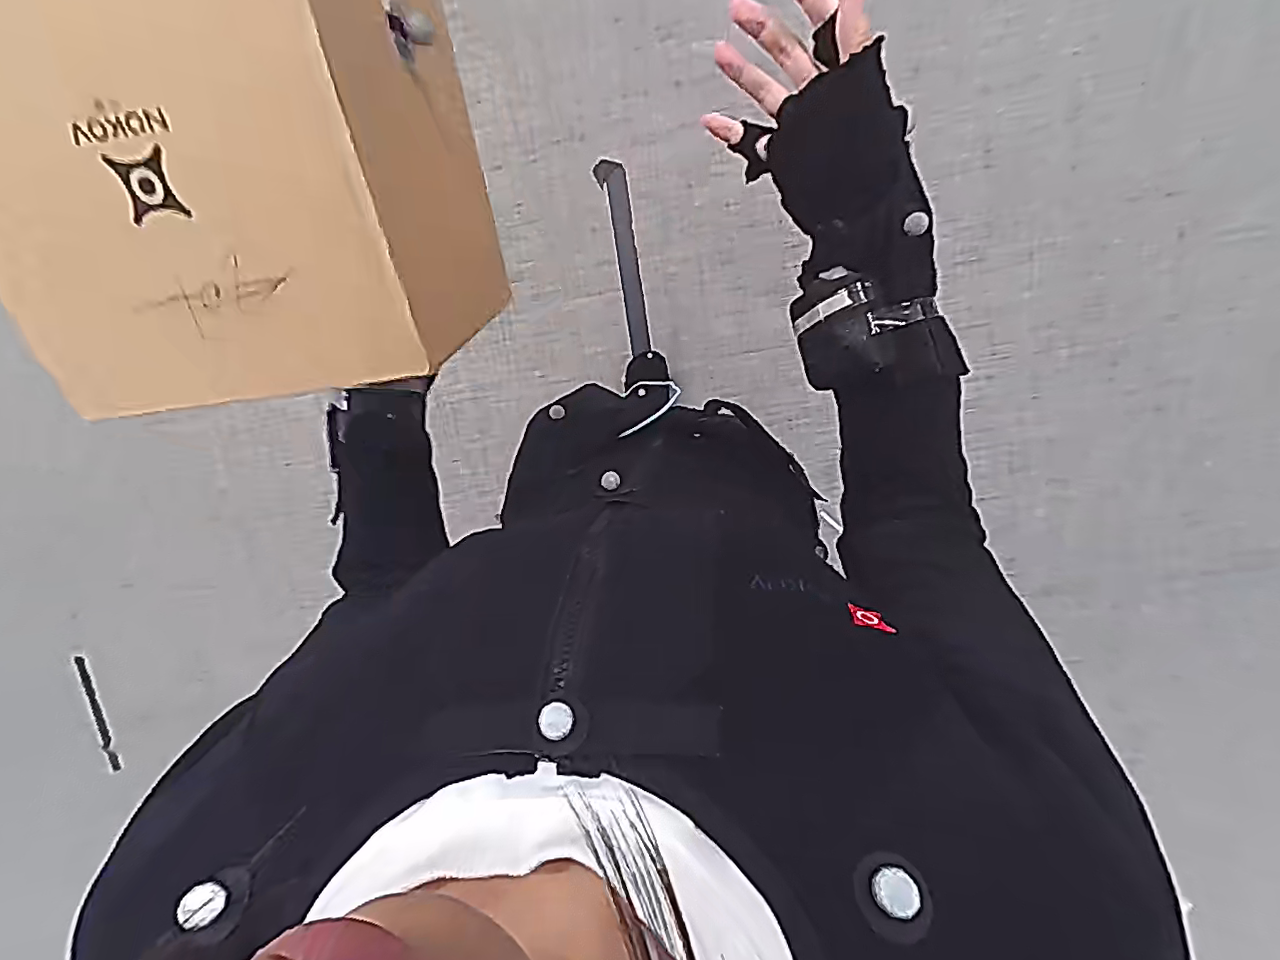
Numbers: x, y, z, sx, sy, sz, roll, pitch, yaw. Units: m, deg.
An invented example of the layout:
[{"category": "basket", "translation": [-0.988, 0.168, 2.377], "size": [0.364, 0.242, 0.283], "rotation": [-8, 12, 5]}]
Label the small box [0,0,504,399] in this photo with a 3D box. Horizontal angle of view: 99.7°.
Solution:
[{"category": "small box", "translation": [-0.182, -0.160, 0.277], "size": [0.168, 0.176, 0.179], "rotation": [-7, 119, 3]}]
